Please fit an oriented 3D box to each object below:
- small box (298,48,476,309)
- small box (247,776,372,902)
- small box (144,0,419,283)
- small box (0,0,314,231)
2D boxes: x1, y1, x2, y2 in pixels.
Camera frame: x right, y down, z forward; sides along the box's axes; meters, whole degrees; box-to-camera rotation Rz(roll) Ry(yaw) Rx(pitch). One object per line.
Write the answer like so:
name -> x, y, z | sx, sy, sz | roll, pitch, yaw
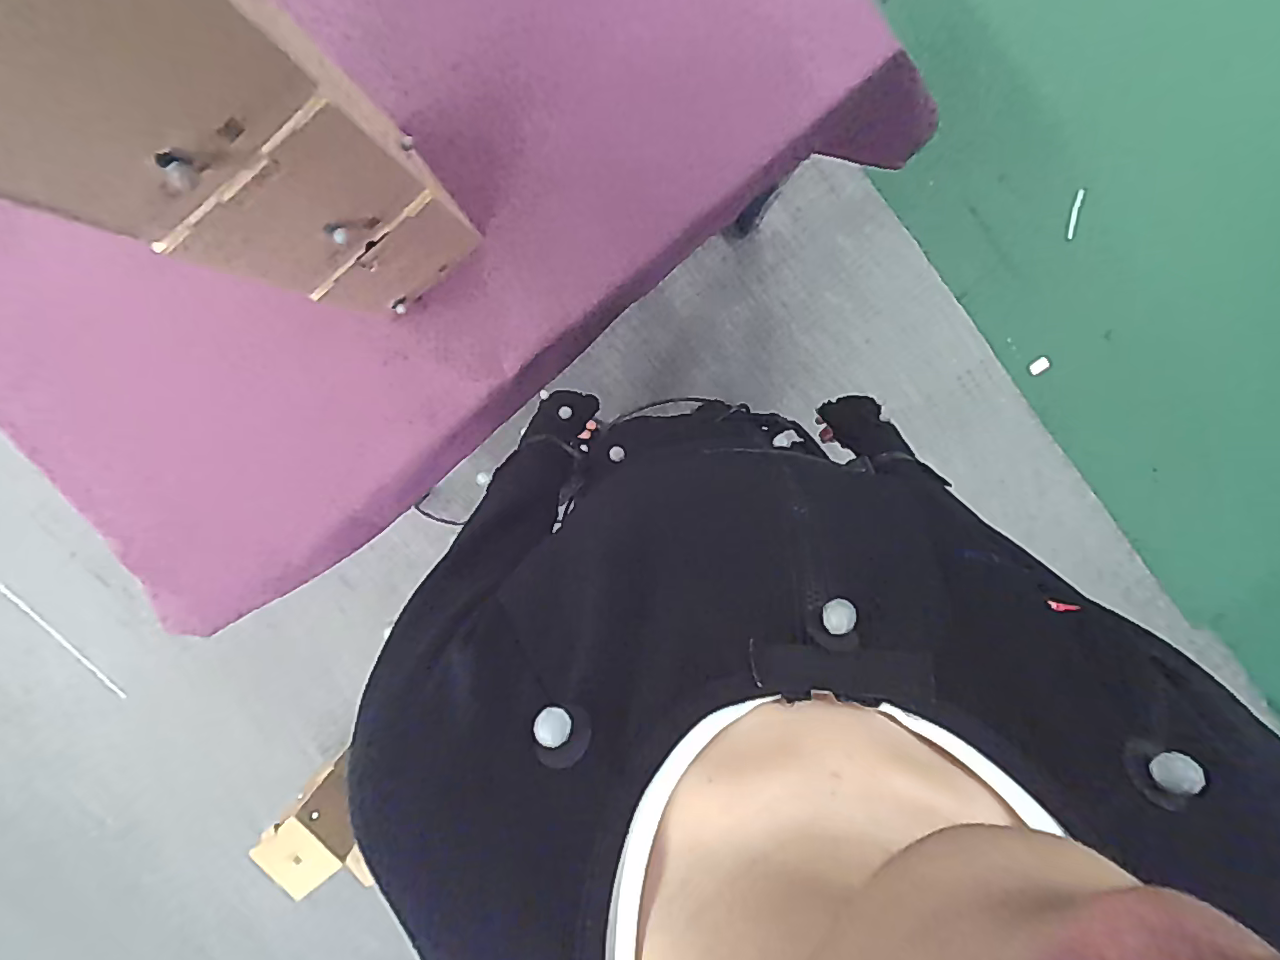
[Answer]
small box -> -0.318, -0.313, 0.612 | 0.168, 0.176, 0.179 | -37, 96, 6
small box -> -0.831, 0.907, 1.381 | 0.168, 0.176, 0.179 | -41, 96, 6
small box -> -0.326, -0.293, 0.449 | 0.168, 0.176, 0.179 | -38, 97, 7
small box -> -0.331, -0.272, 0.287 | 0.168, 0.176, 0.179 | -38, 97, 7
